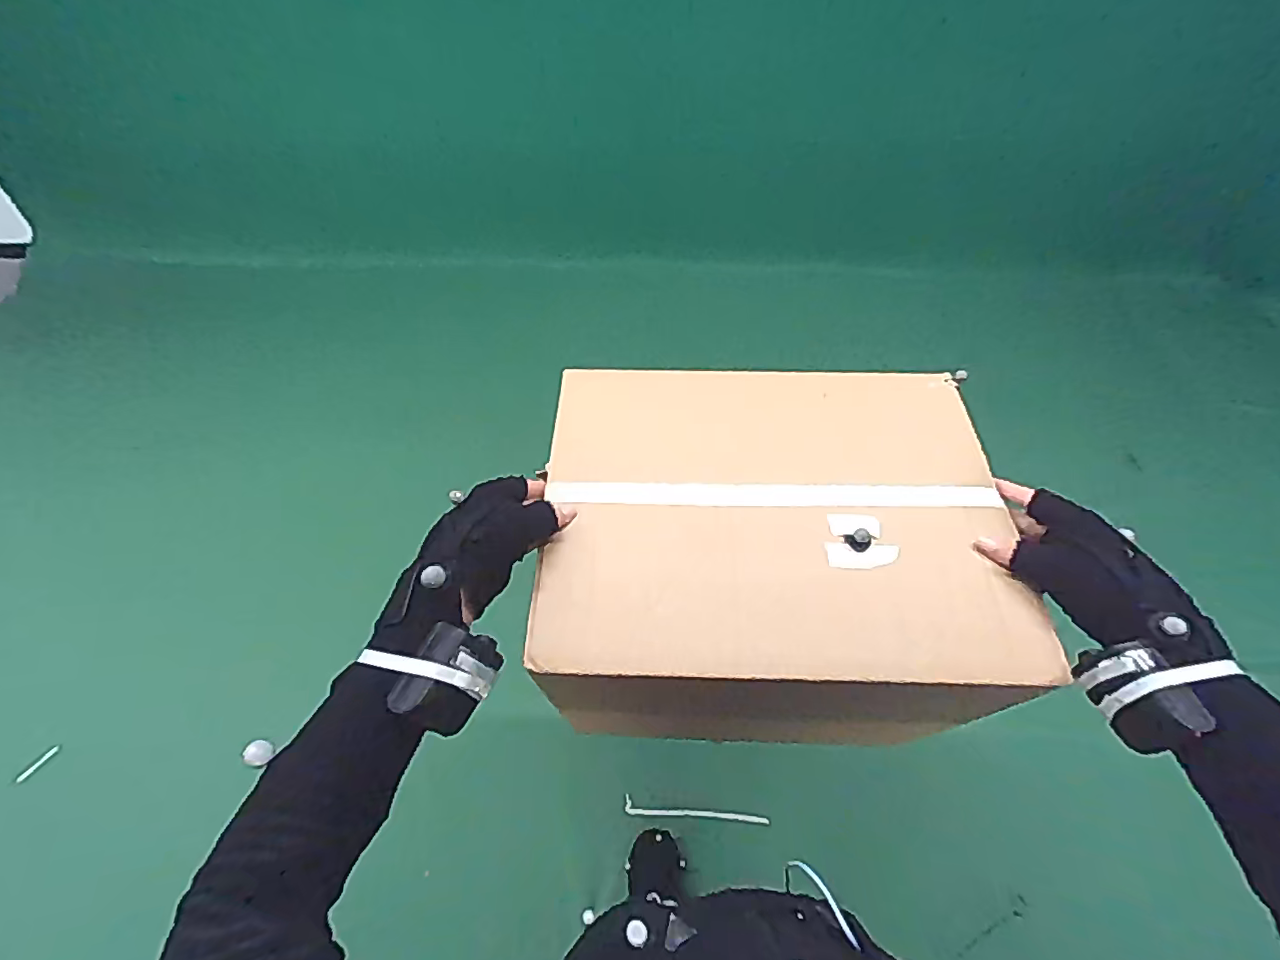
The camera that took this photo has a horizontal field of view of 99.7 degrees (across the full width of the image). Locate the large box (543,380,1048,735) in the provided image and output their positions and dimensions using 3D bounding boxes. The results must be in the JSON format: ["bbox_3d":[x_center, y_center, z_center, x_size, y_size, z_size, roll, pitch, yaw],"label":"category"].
[{"bbox_3d":[0.120,0.102,0.624,0.408,0.320,0.320,1,57,1],"label":"large box"}]
